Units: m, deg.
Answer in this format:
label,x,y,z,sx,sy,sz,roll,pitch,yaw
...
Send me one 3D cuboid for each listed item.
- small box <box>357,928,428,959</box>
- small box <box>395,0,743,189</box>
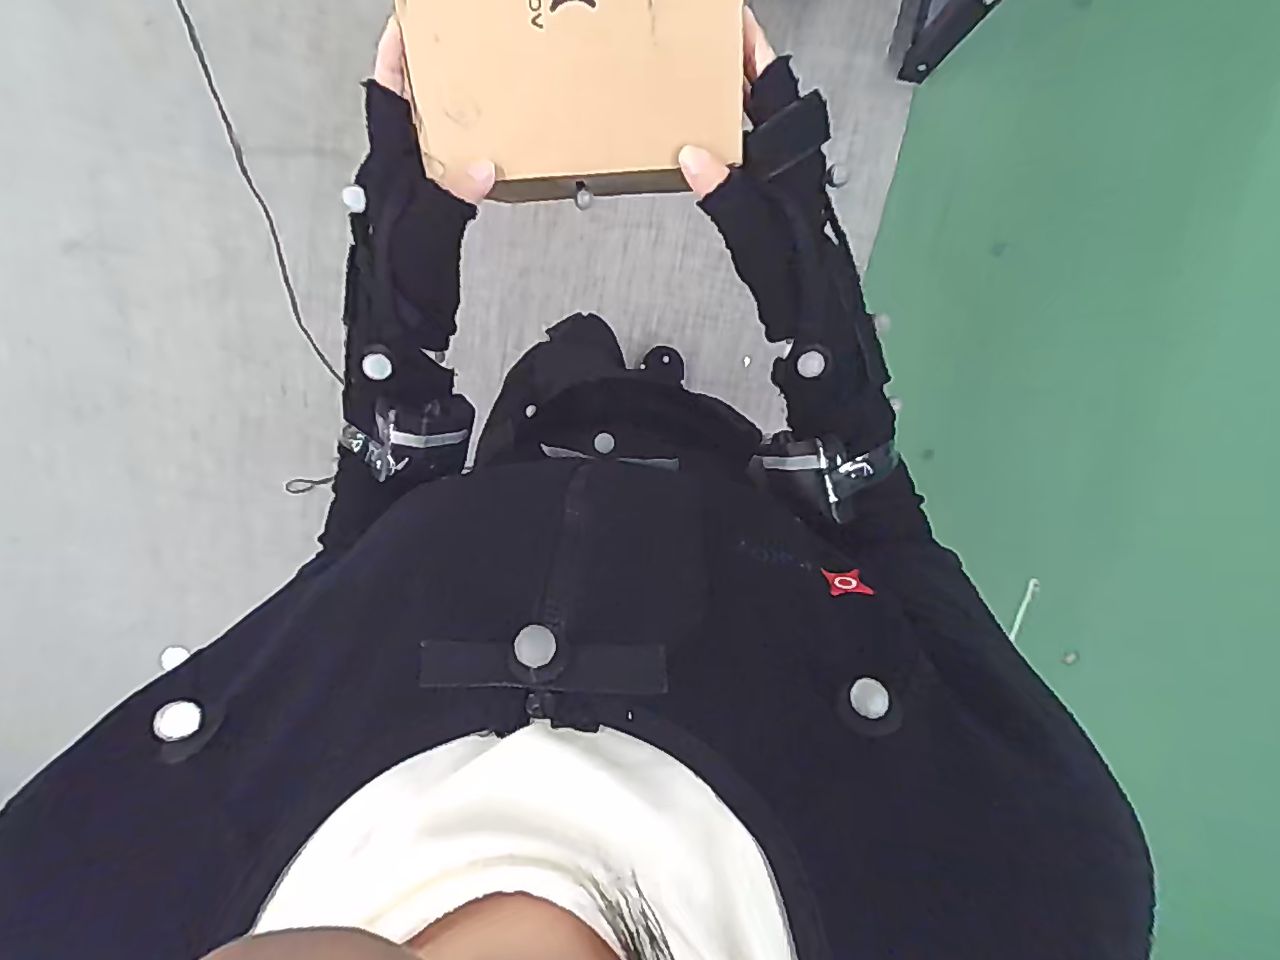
label,x,y,z,sx,sy,sz,roll,pitch,yaw
small box,-0.686,1.359,1.455,0.168,0.176,0.179,8,104,1
small box,-0.031,-0.283,0.332,0.179,0.176,0.168,-2,115,6
